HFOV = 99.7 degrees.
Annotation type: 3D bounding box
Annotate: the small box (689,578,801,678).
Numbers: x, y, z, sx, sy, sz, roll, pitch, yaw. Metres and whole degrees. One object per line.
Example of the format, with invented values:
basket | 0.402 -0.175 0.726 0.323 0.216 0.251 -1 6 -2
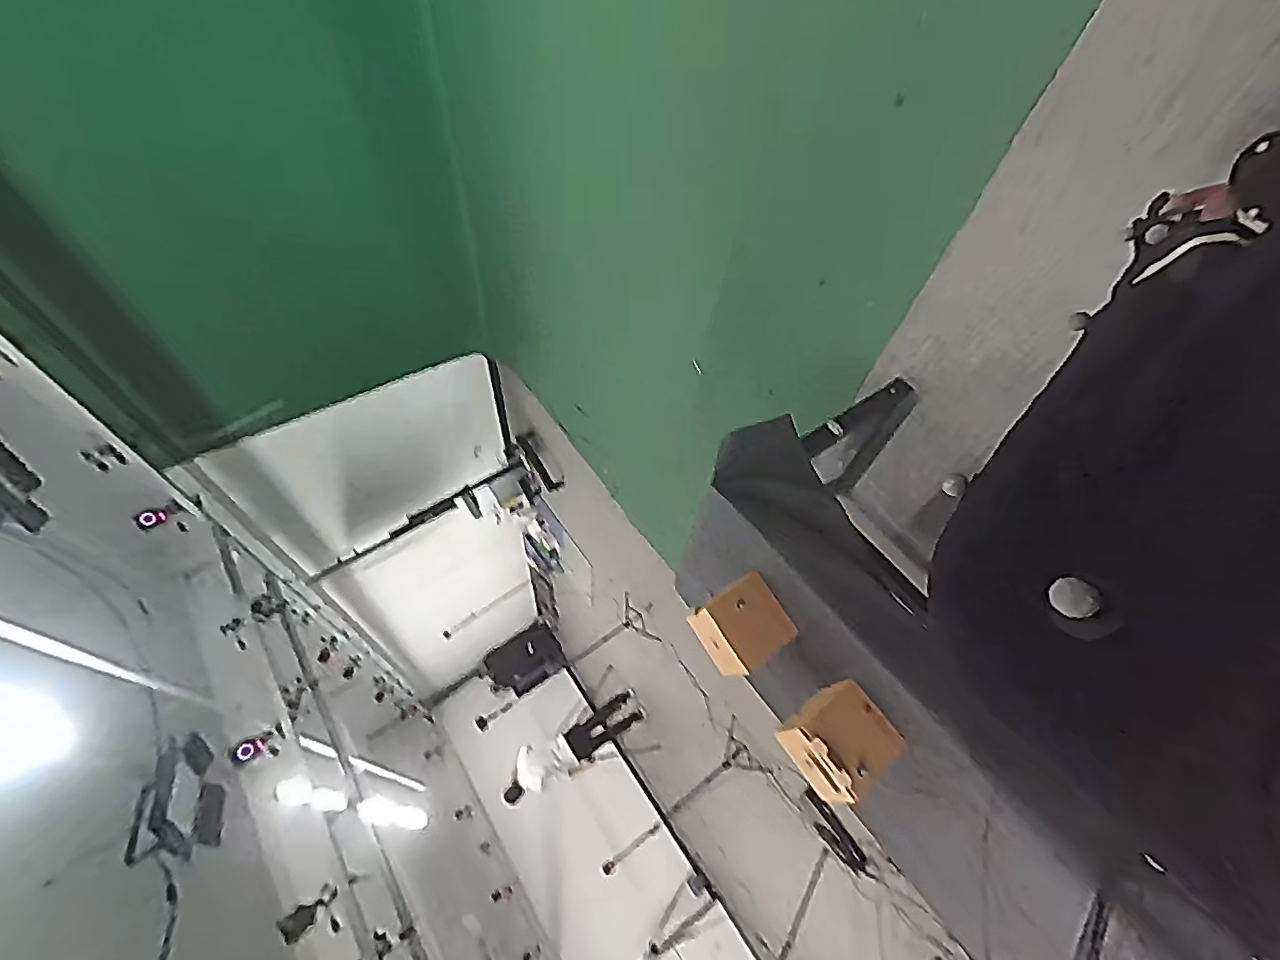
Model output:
small box | 0.254 0.357 1.323 0.179 0.176 0.168 55 157 11
